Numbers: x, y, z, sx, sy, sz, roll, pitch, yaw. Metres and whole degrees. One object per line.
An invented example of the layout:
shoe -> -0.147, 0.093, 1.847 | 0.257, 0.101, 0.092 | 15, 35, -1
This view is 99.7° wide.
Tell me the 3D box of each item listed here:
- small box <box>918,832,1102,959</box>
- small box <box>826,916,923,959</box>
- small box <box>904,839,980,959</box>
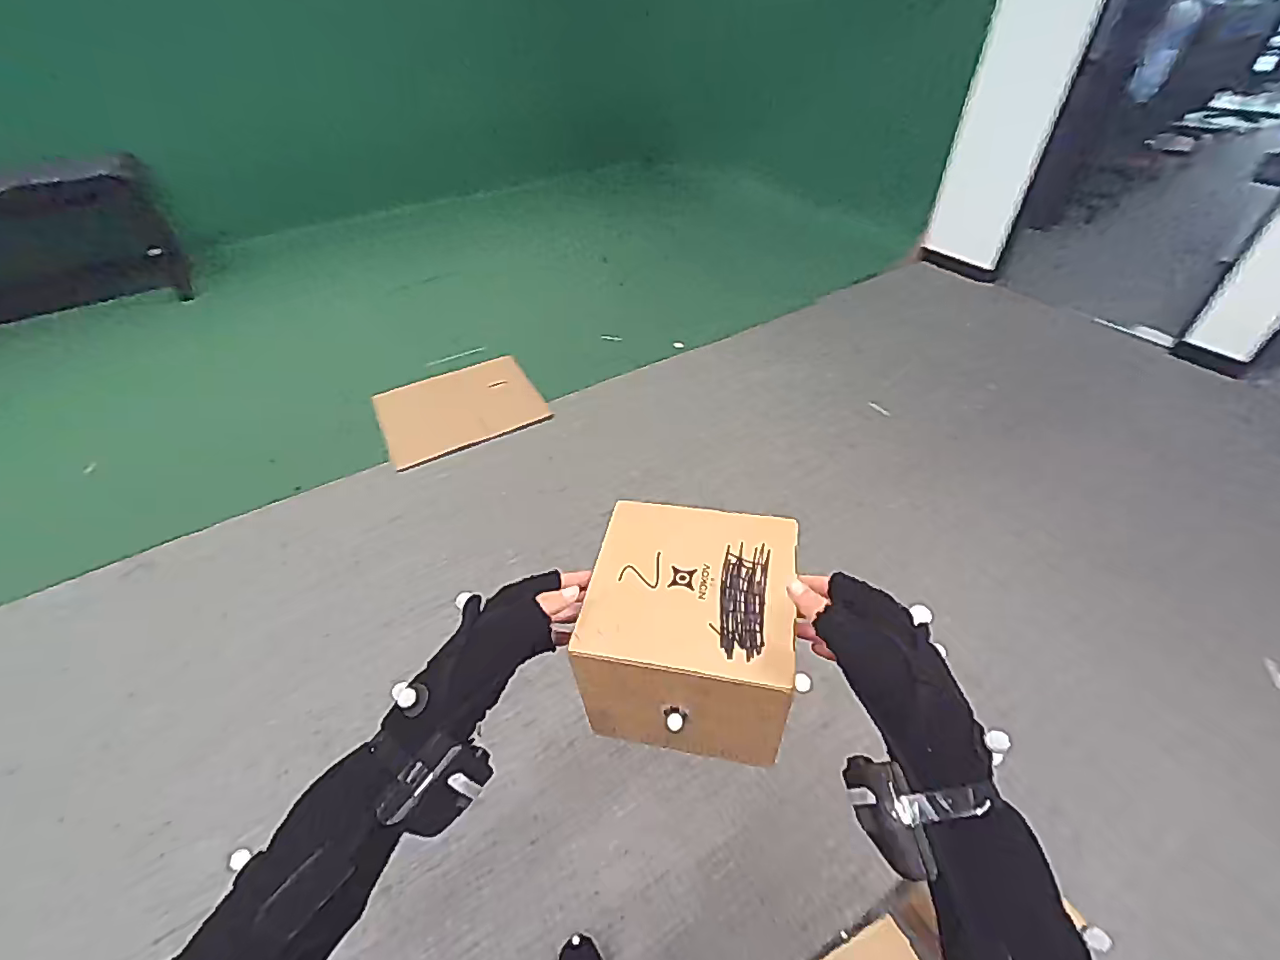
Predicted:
small box -> 0.631, 0.768, 0.946 | 0.168, 0.176, 0.179 | -23, 47, -19
small box -> 0.446, 0.958, 0.995 | 0.168, 0.176, 0.179 | -20, 46, -16
small box -> 0.663, 0.870, 1.075 | 0.168, 0.176, 0.179 | -28, 49, -23
